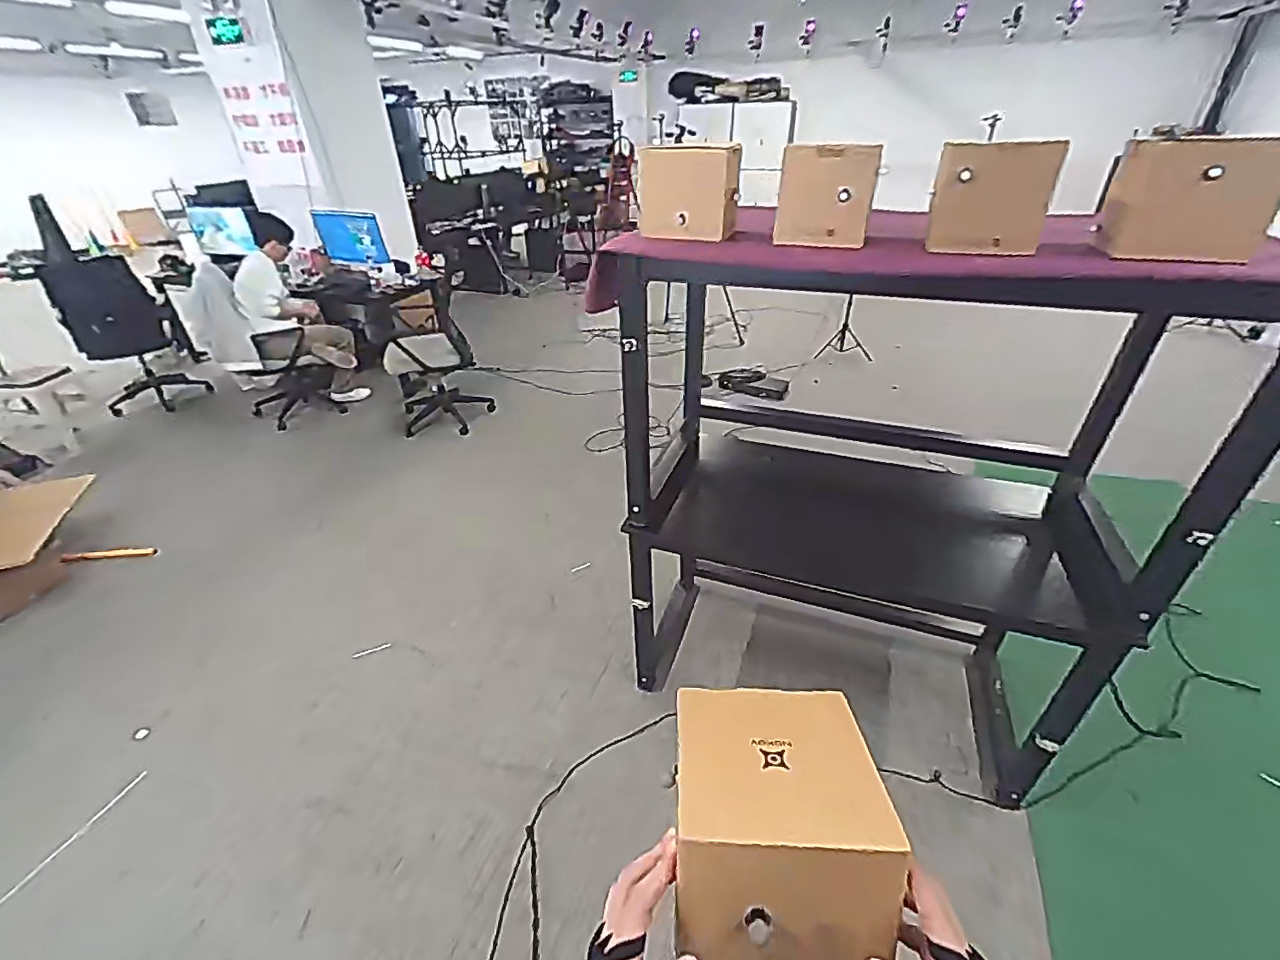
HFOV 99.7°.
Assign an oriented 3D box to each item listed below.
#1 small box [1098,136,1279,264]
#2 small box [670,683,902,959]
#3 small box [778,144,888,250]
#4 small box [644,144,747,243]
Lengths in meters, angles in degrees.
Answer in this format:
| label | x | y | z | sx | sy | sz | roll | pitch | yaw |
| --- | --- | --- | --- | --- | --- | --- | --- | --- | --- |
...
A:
| label | x | y | z | sx | sy | sz | roll | pitch | yaw |
| --- | --- | --- | --- | --- | --- | --- | --- | --- | --- |
| small box | 0.885 | -0.451 | 0.873 | 0.179 | 0.176 | 0.168 | 11 | 34 | 19 |
| small box | 0.112 | 0.306 | 0.480 | 0.168 | 0.176 | 0.179 | 0 | 15 | 4 |
| small box | 0.372 | -0.551 | 1.050 | 0.168 | 0.176 | 0.179 | 13 | 34 | 20 |
| small box | 0.115 | -0.599 | 1.132 | 0.179 | 0.176 | 0.168 | 11 | 34 | 16 |
